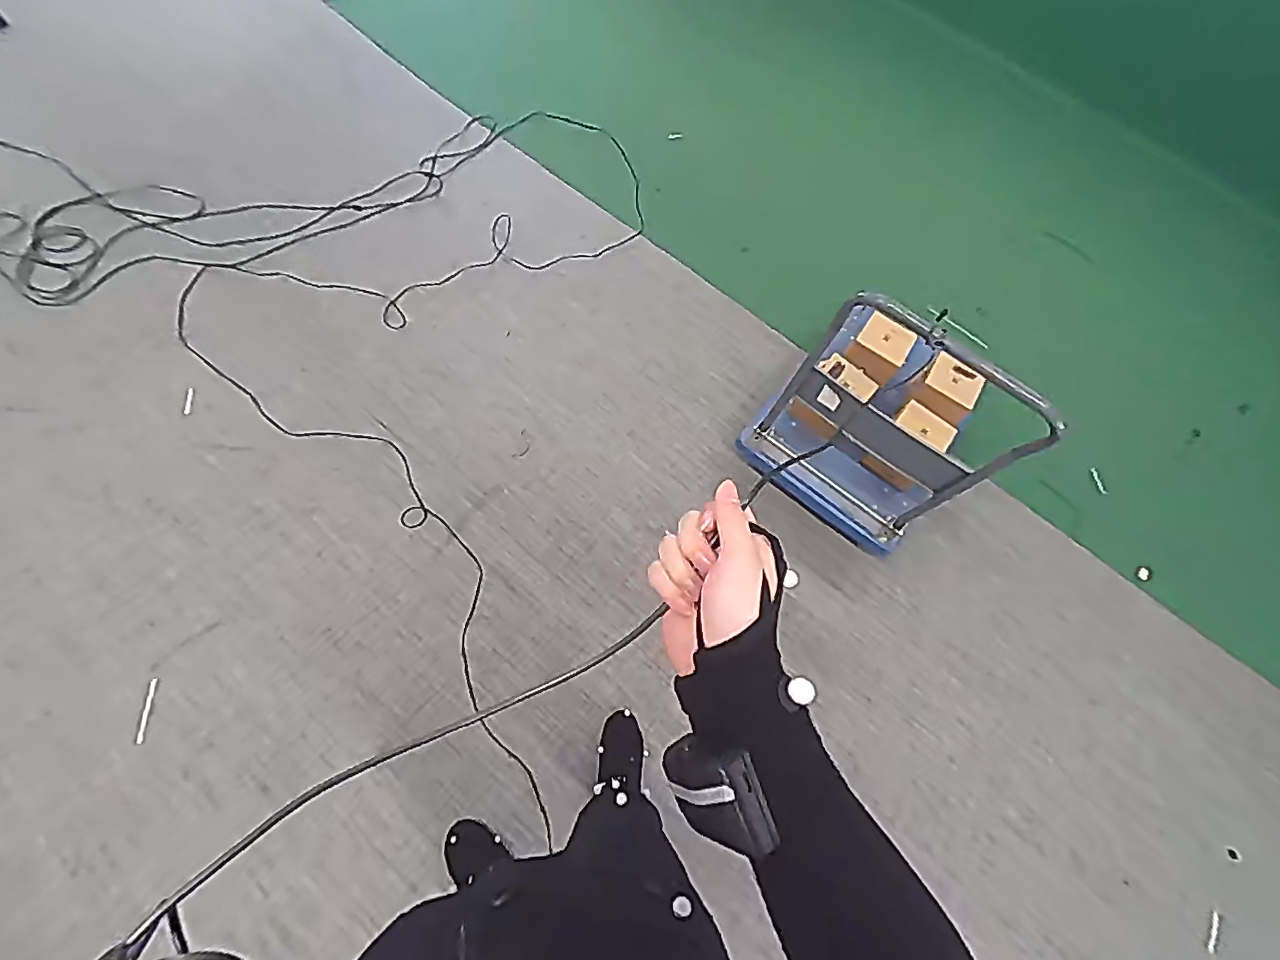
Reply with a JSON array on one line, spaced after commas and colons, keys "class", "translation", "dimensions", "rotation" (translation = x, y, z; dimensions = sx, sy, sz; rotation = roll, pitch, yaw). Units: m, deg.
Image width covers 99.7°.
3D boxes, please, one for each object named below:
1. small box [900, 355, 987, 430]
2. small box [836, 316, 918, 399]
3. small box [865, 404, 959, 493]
[{"class": "small box", "translation": [0.999, -0.271, 1.792], "dimensions": [0.168, 0.176, 0.179], "rotation": [34, 64, 9]}, {"class": "small box", "translation": [0.793, -0.409, 1.830], "dimensions": [0.168, 0.176, 0.179], "rotation": [35, 63, 8]}, {"class": "small box", "translation": [0.834, -0.093, 1.673], "dimensions": [0.168, 0.176, 0.179], "rotation": [39, 64, 11]}]
